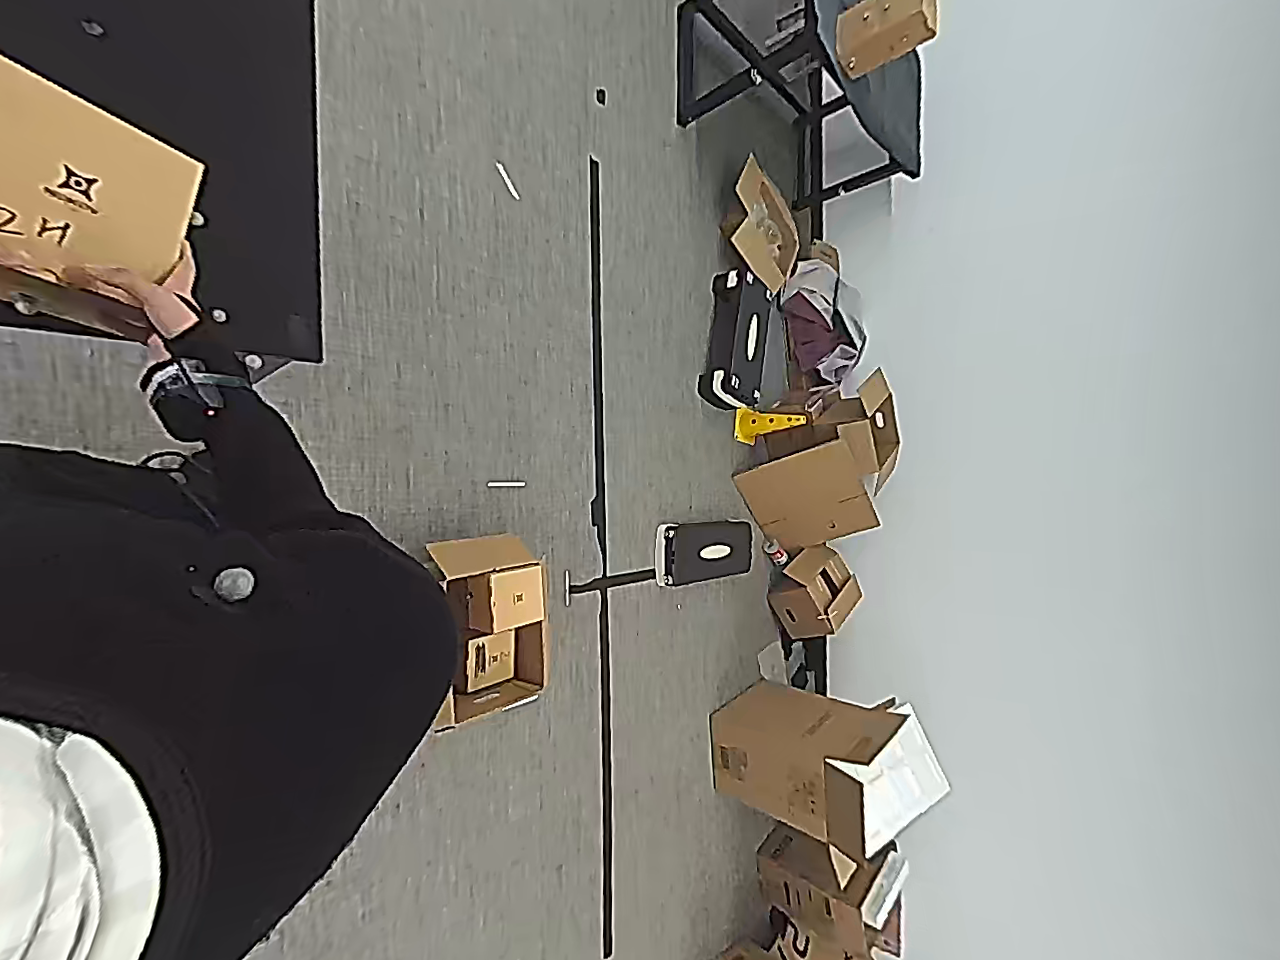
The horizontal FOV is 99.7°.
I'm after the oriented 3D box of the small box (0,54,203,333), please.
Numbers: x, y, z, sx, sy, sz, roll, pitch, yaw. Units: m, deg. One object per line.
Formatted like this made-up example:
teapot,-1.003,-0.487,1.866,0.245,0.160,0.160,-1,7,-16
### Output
small box,-0.583,-0.267,0.542,0.168,0.176,0.179,18,78,-53
